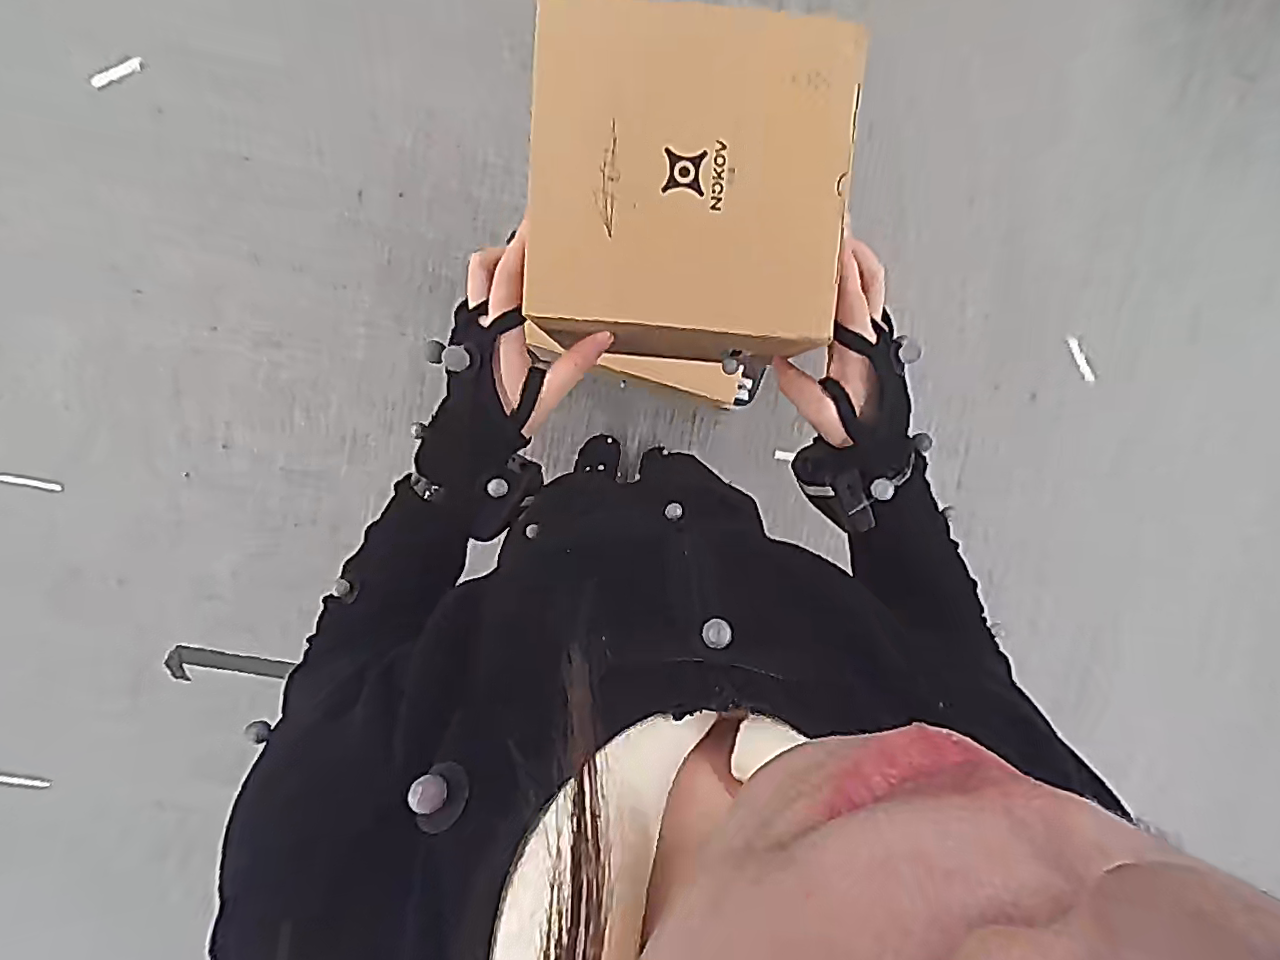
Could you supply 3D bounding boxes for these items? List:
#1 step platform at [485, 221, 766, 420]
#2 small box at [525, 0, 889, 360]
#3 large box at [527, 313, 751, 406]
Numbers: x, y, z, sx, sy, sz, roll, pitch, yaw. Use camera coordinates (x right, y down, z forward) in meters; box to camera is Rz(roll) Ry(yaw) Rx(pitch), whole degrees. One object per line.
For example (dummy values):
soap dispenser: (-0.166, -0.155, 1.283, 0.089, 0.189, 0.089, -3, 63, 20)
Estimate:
step platform: (-0.025, -0.378, 1.340, 0.684, 0.204, 0.286, 18, 95, -6)
small box: (0.032, -0.175, 0.357, 0.179, 0.176, 0.168, 5, 97, 0)
large box: (0.021, -0.349, 1.106, 0.408, 0.320, 0.320, 16, 94, -5)
